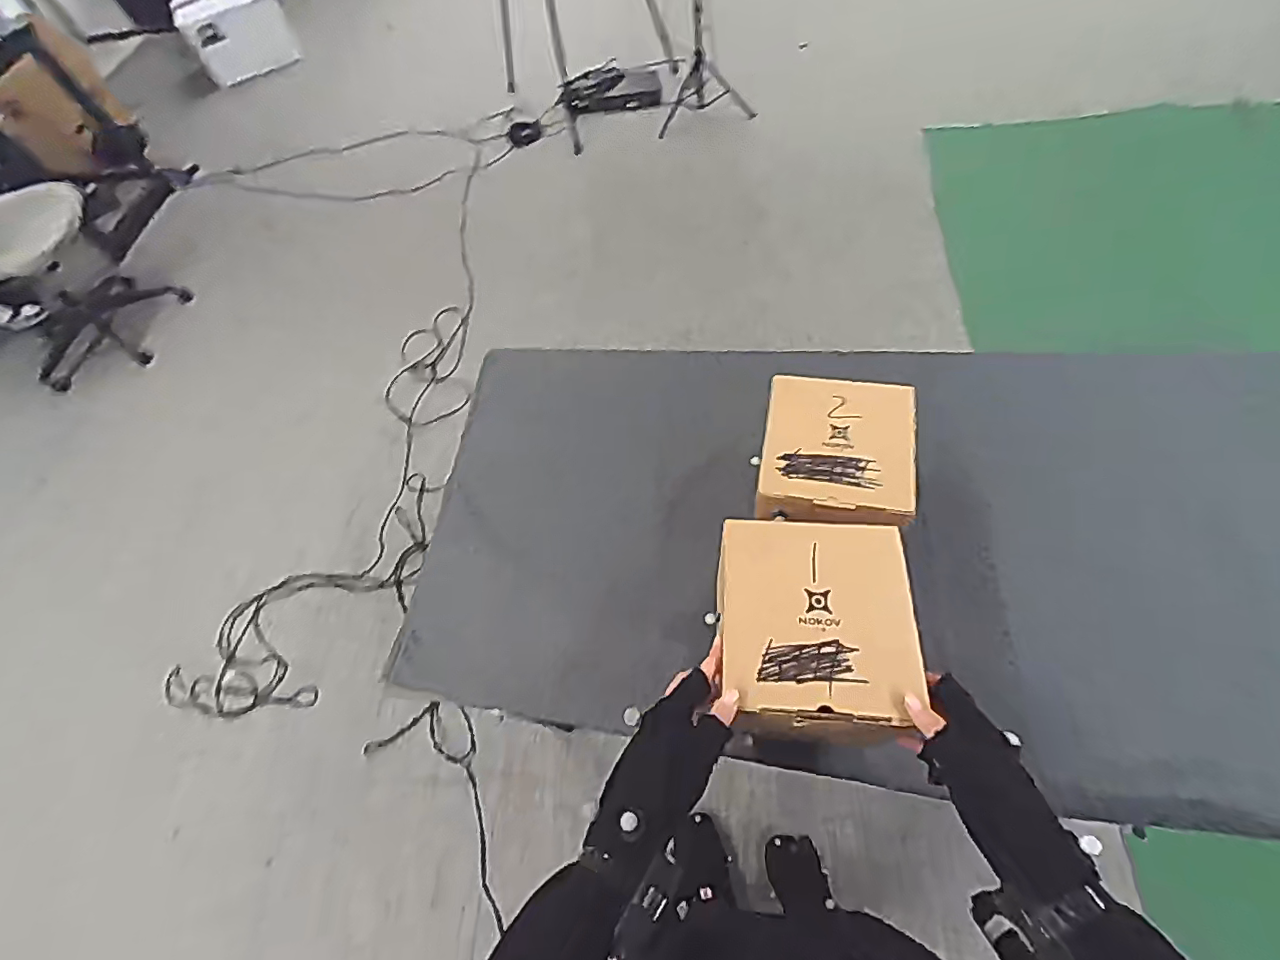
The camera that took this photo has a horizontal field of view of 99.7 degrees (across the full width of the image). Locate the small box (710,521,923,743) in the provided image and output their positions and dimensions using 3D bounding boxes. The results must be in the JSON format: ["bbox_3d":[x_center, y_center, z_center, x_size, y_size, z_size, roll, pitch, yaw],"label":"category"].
[{"bbox_3d":[0.157,0.158,0.543,0.168,0.176,0.179,2,59,6],"label":"small box"}]
